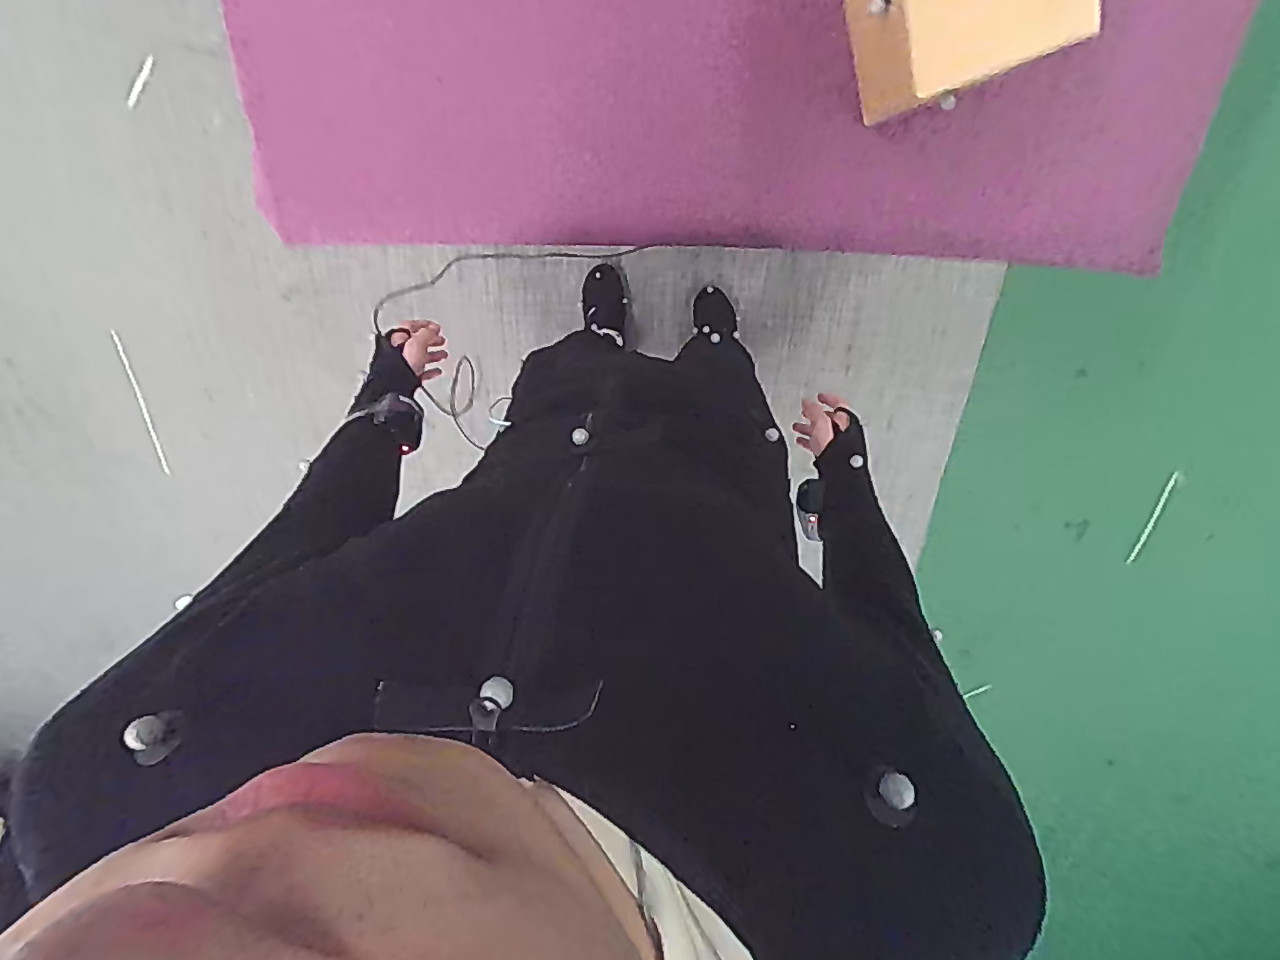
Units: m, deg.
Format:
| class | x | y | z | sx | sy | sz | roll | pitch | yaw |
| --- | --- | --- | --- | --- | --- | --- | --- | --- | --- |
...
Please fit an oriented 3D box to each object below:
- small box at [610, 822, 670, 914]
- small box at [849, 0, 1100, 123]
| class | x | y | z | sx | sy | sz | roll | pitch | yaw |
| --- | --- | --- | --- | --- | --- | --- | --- | --- | --- |
| small box | 0.004 | 1.233 | 1.725 | 0.168 | 0.176 | 0.179 | 9 | 114 | 2 |
| small box | 0.328 | -0.496 | 0.556 | 0.168 | 0.176 | 0.179 | -16 | 112 | 12 |
